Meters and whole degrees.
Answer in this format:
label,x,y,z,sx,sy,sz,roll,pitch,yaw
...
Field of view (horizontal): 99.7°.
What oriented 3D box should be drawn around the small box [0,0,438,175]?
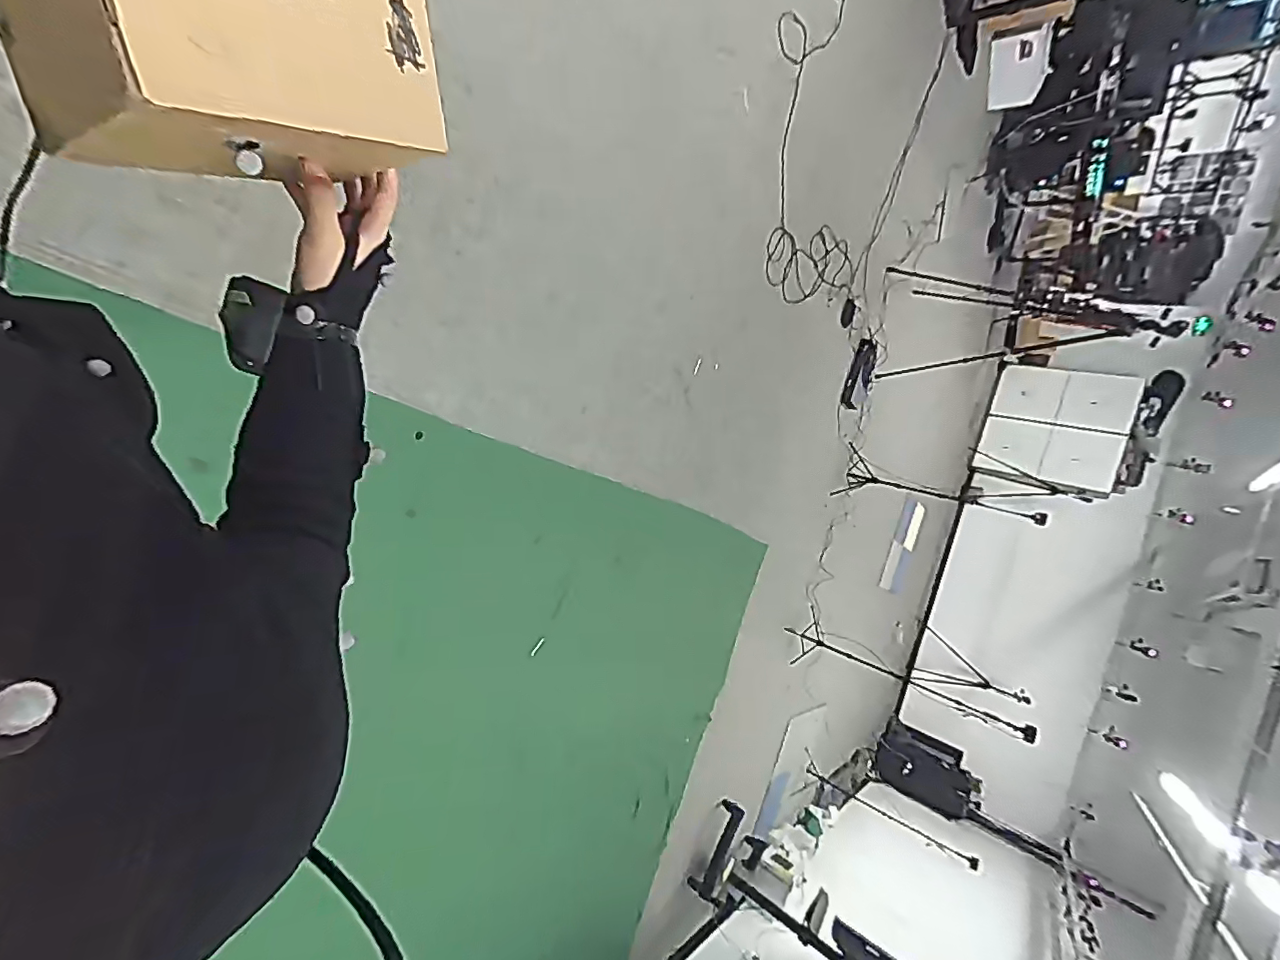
label,x,y,z,sx,sy,sz,roll,pitch,yaw
small box,-0.260,-0.294,0.328,0.179,0.176,0.168,-30,124,-49
